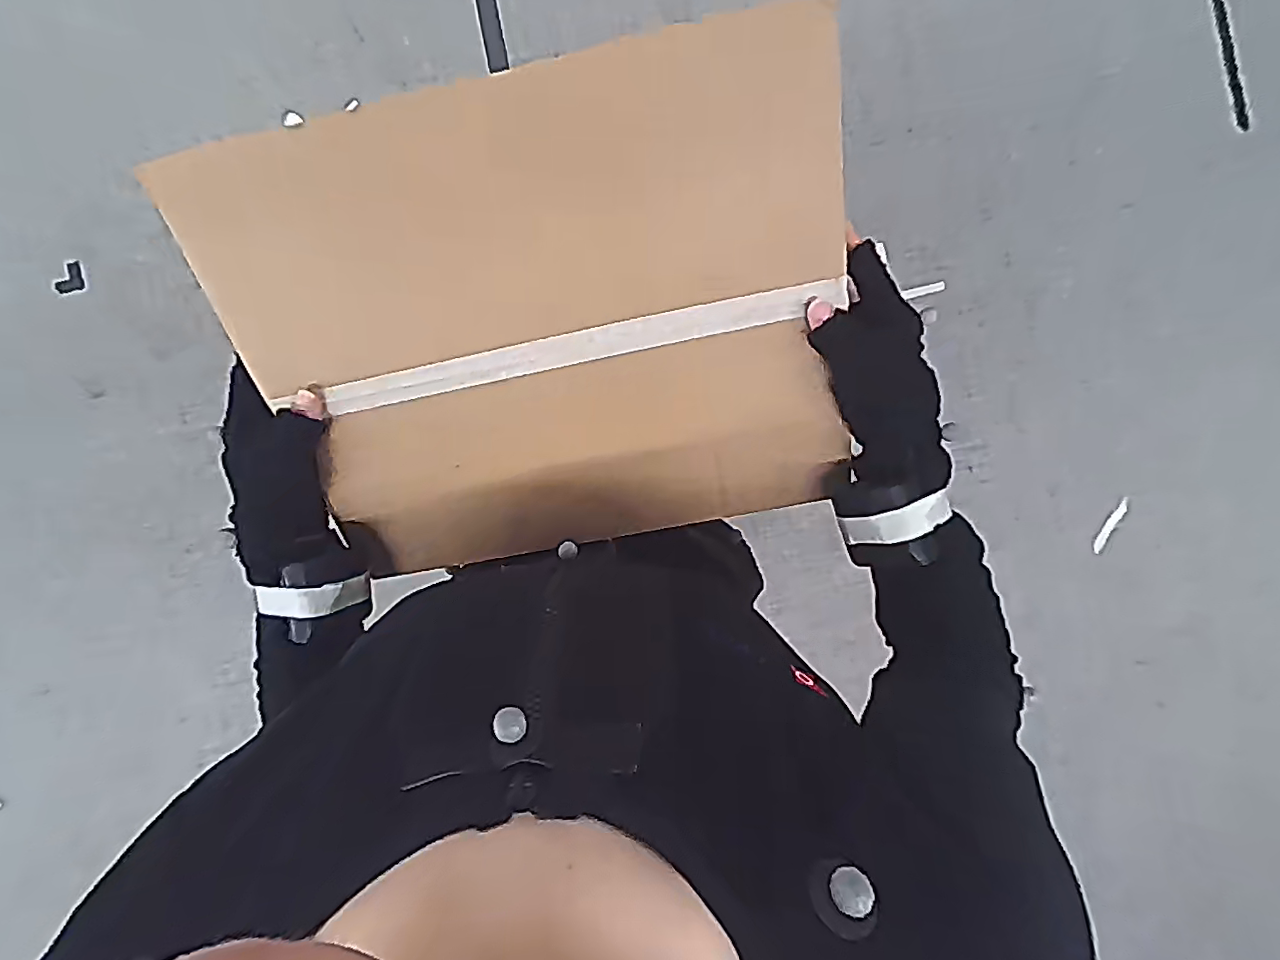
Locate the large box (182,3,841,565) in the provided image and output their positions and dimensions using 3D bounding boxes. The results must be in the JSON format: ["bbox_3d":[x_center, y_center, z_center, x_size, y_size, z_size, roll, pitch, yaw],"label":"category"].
[{"bbox_3d":[-0.066,-0.162,0.515,0.408,0.320,0.320,-10,119,5],"label":"large box"}]
